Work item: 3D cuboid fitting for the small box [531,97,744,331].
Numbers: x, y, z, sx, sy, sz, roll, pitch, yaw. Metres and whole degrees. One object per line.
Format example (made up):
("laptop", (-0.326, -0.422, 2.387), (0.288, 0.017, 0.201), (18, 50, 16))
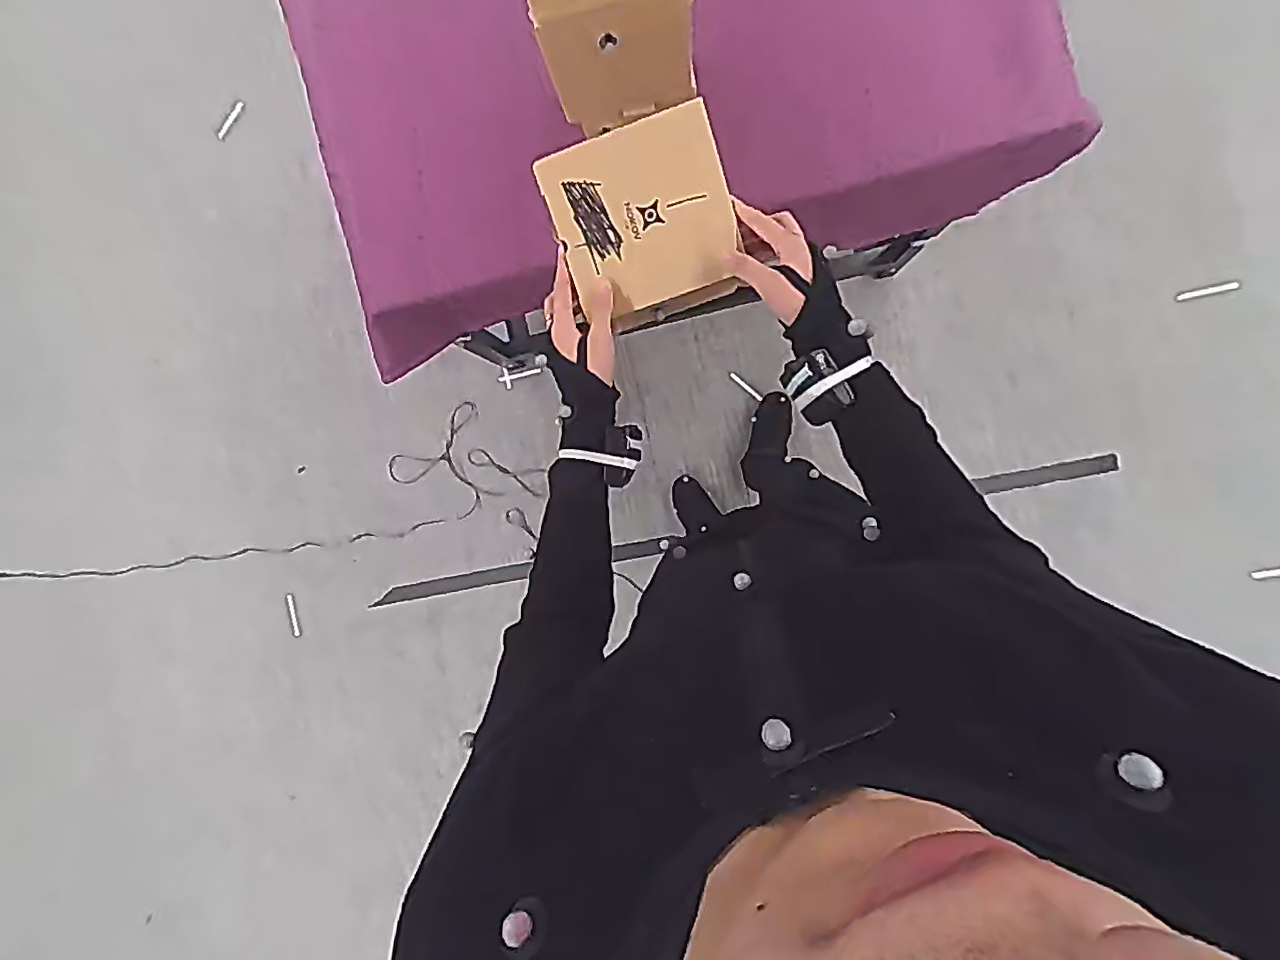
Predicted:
("small box", (0.003, -0.276, 0.609), (0.179, 0.176, 0.168), (-18, 100, 6))

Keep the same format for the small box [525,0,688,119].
("small box", (-0.040, -0.583, 0.659), (0.179, 0.176, 0.168), (-10, 91, 5))

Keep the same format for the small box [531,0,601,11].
("small box", (-0.057, -0.586, 0.497), (0.168, 0.176, 0.179), (-10, 89, 6))
